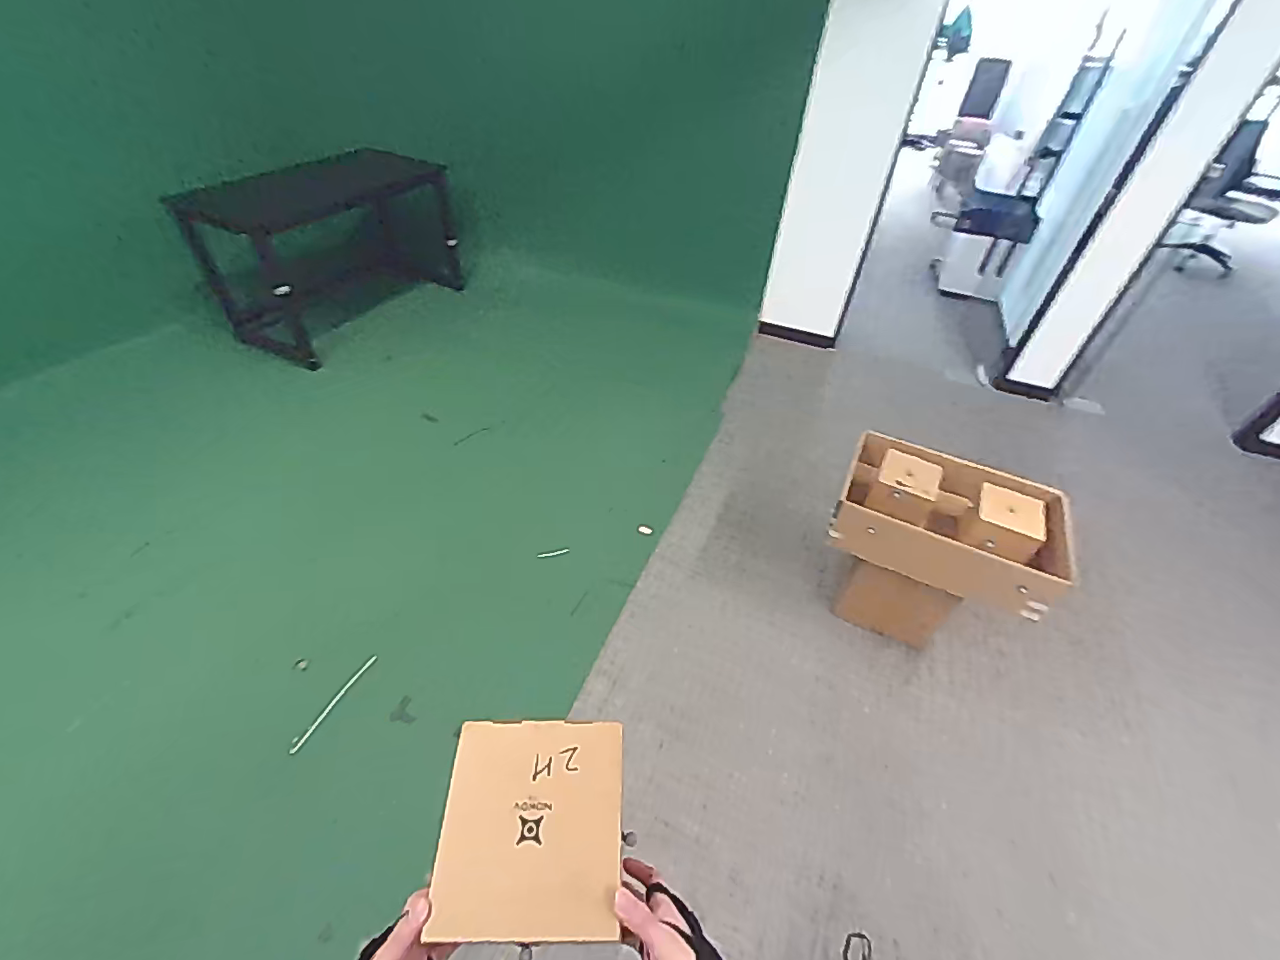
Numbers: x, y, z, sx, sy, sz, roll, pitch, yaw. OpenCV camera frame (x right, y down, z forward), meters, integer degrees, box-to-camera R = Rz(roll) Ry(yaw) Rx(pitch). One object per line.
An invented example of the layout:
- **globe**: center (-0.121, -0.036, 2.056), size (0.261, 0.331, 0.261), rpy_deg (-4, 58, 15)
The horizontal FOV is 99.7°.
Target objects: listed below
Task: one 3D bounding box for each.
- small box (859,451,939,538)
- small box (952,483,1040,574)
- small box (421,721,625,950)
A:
- **small box**: center (0.800, 0.045, 1.679), size (0.168, 0.176, 0.179), rpy_deg (23, 46, 20)
- **small box**: center (1.046, 0.147, 1.595), size (0.168, 0.176, 0.179), rpy_deg (22, 46, 18)
- **small box**: center (-0.101, 0.369, 0.561), size (0.168, 0.176, 0.179), rpy_deg (2, 49, 0)
